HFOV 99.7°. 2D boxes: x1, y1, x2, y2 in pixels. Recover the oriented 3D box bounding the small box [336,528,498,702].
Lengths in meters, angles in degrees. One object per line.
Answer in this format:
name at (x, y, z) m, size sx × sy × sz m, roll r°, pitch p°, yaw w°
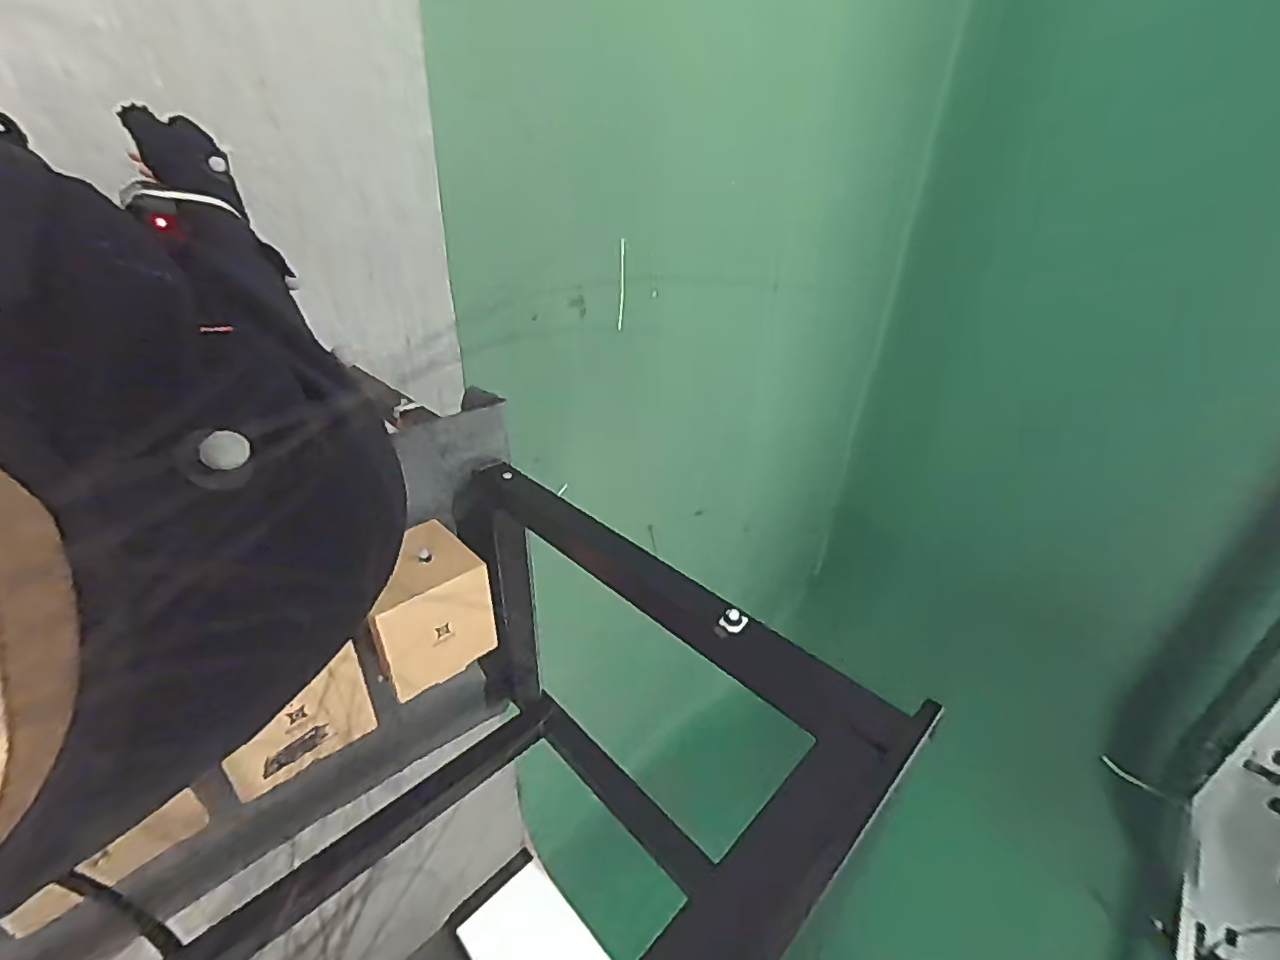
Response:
small box at (-0.344, 0.193, 0.839) m, size 0.168 × 0.176 × 0.179 m, roll -25°, pitch 130°, yaw -38°
